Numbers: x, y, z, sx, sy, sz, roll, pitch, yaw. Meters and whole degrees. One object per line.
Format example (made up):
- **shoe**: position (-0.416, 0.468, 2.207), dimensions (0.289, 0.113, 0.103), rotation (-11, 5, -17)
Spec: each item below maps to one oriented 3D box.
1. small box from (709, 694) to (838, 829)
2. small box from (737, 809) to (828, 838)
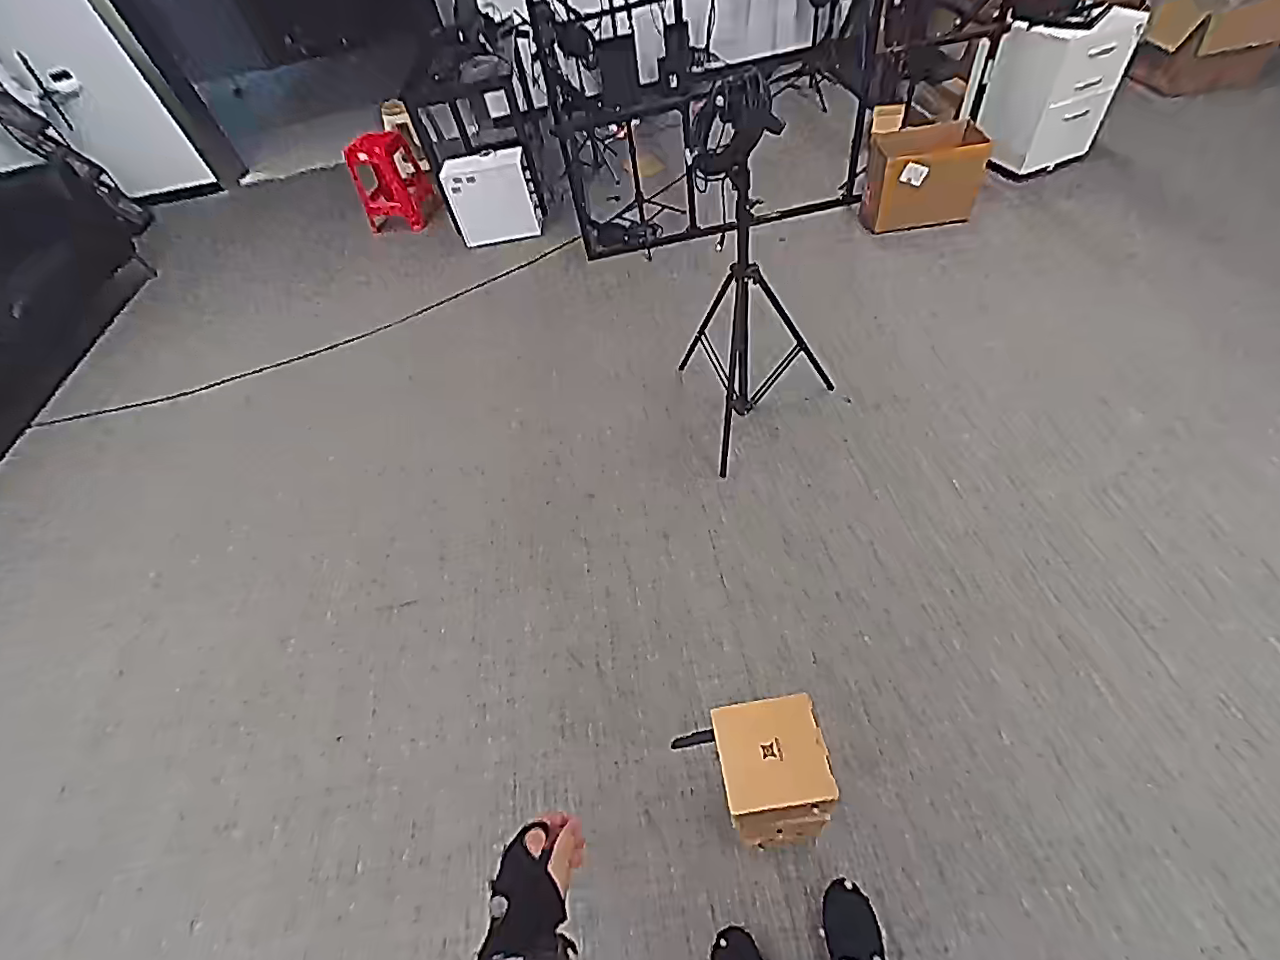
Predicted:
- **small box**: position (0.228, 0.500, 0.954), dimensions (0.179, 0.176, 0.168), rotation (-11, 50, 2)
- **small box**: position (0.264, 0.602, 1.077), dimensions (0.168, 0.176, 0.179), rotation (-8, 50, 4)
